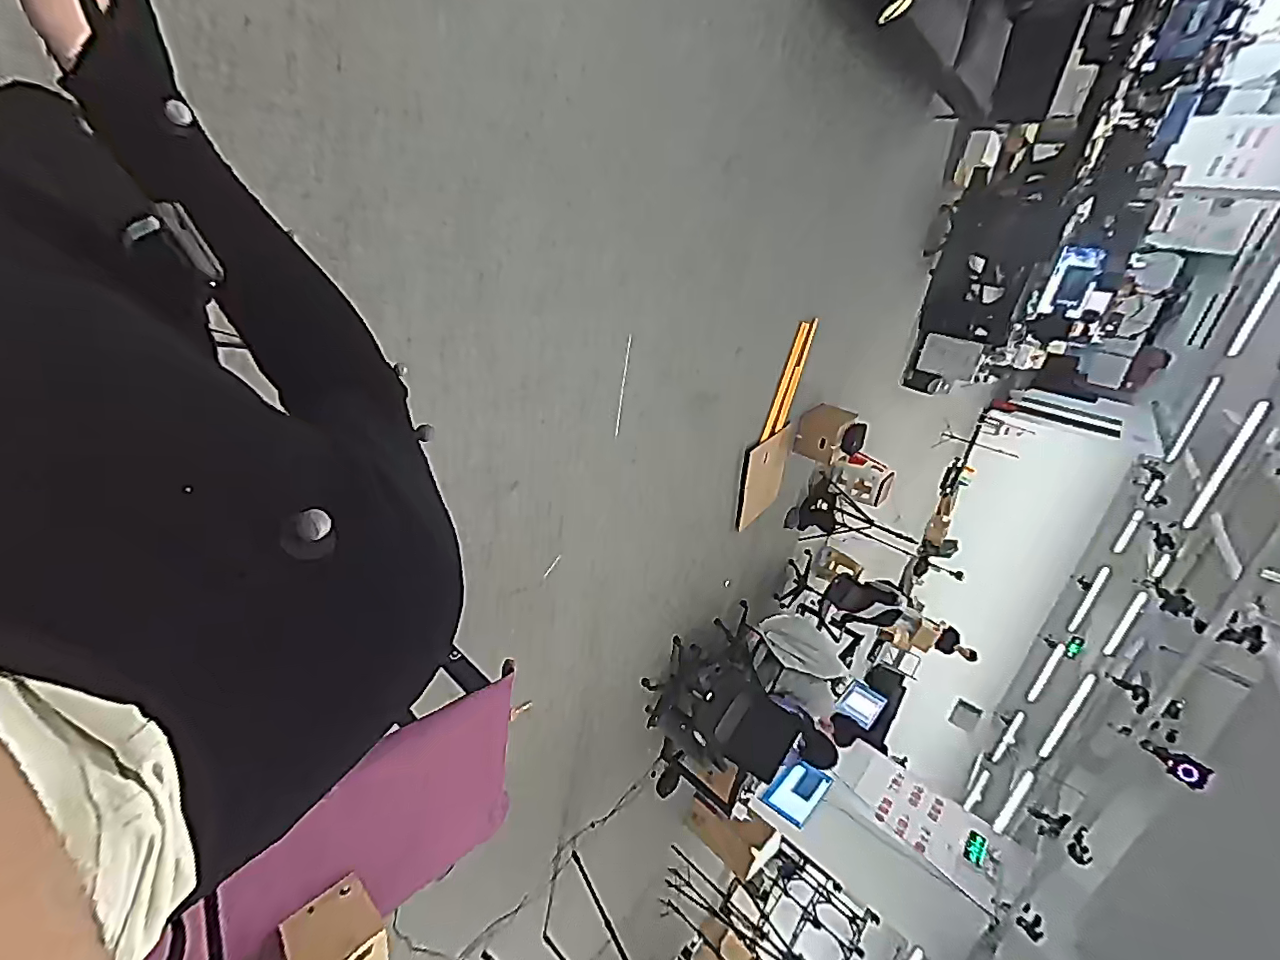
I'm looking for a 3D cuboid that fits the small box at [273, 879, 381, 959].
[{"bbox_3d":[-0.717,1.072,1.241,0.168,0.176,0.179,-18,126,-46],"label":"small box"}]
